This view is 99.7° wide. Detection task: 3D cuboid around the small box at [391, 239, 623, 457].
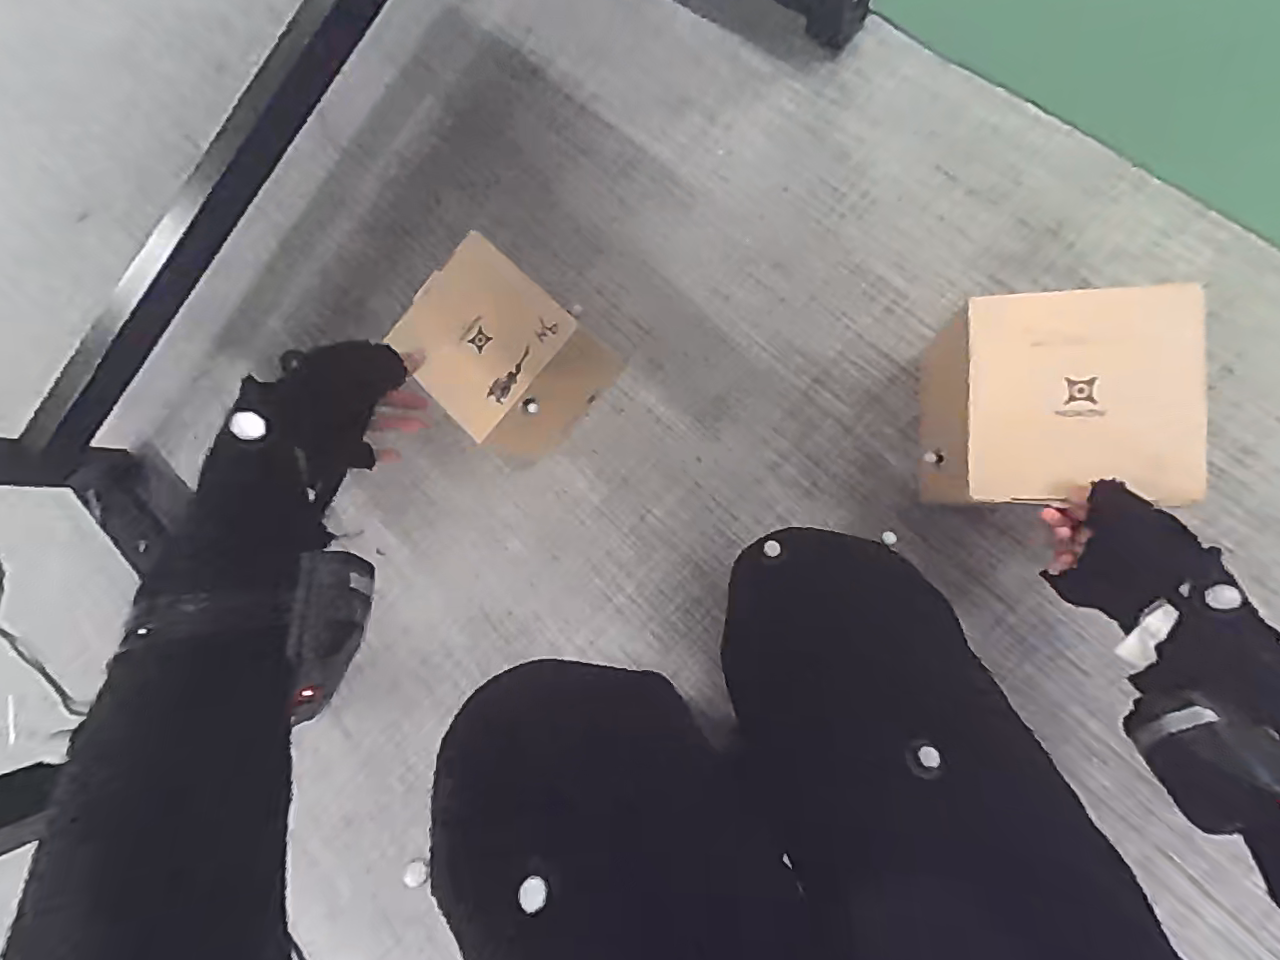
[{"bbox_3d":[-0.151,-0.144,0.659,0.179,0.176,0.168,44,99,15],"label":"small box"}]
